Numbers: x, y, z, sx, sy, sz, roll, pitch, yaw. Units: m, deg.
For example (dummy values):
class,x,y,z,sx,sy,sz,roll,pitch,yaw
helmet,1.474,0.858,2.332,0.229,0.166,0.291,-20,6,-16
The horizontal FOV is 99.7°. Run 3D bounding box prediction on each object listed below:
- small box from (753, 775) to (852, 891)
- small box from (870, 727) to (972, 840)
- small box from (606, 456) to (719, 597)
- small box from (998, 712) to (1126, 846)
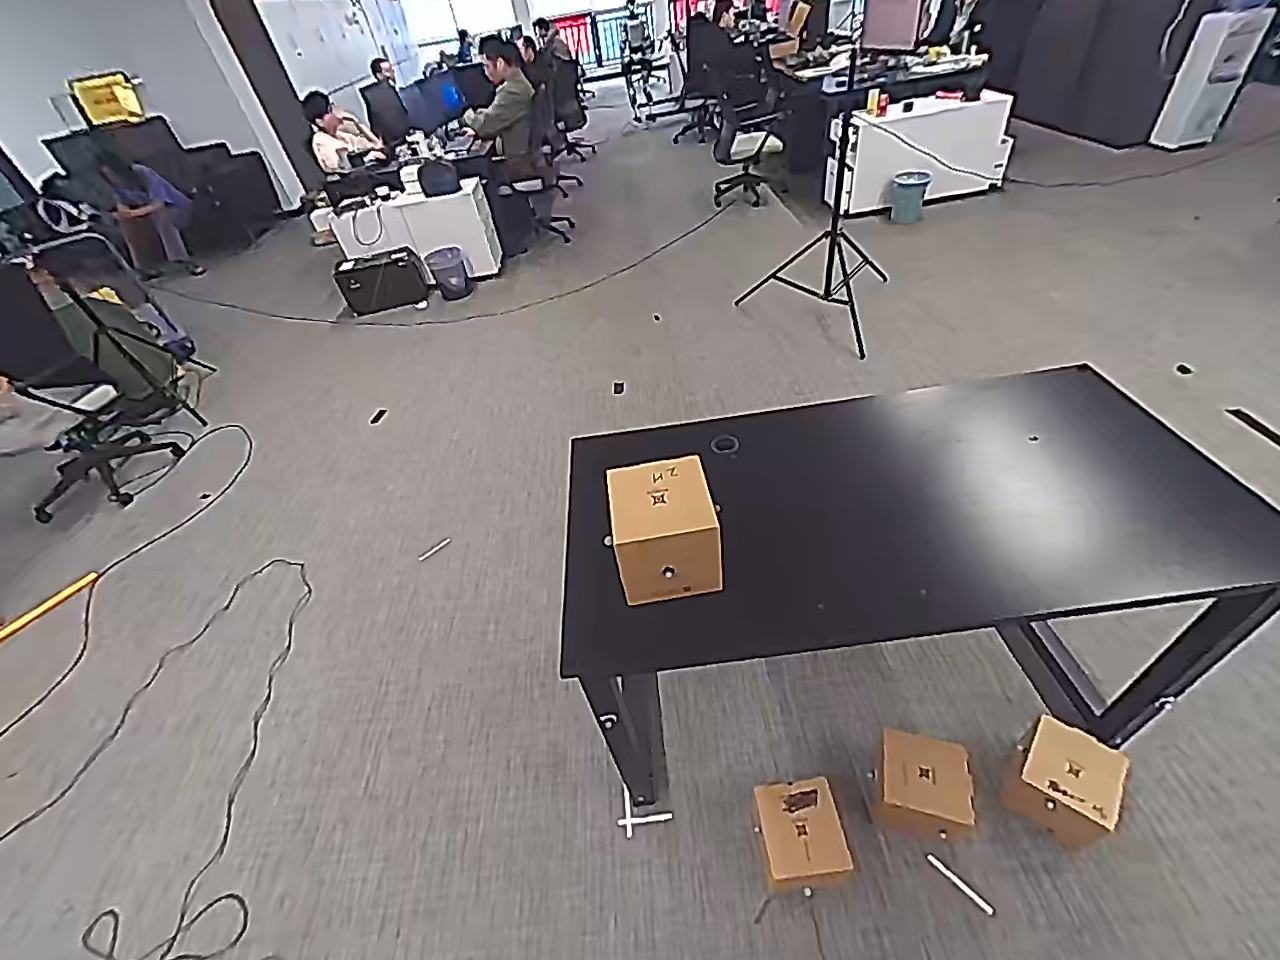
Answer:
class,x,y,z,sx,sy,sz,roll,pitch,yaw
small box,0.352,0.788,1.208,0.168,0.176,0.179,-9,44,2
small box,0.638,0.701,1.245,0.179,0.176,0.168,6,44,18
small box,0.040,0.086,0.940,0.168,0.176,0.179,-10,42,0
small box,0.938,0.670,1.213,0.168,0.176,0.179,25,54,33
